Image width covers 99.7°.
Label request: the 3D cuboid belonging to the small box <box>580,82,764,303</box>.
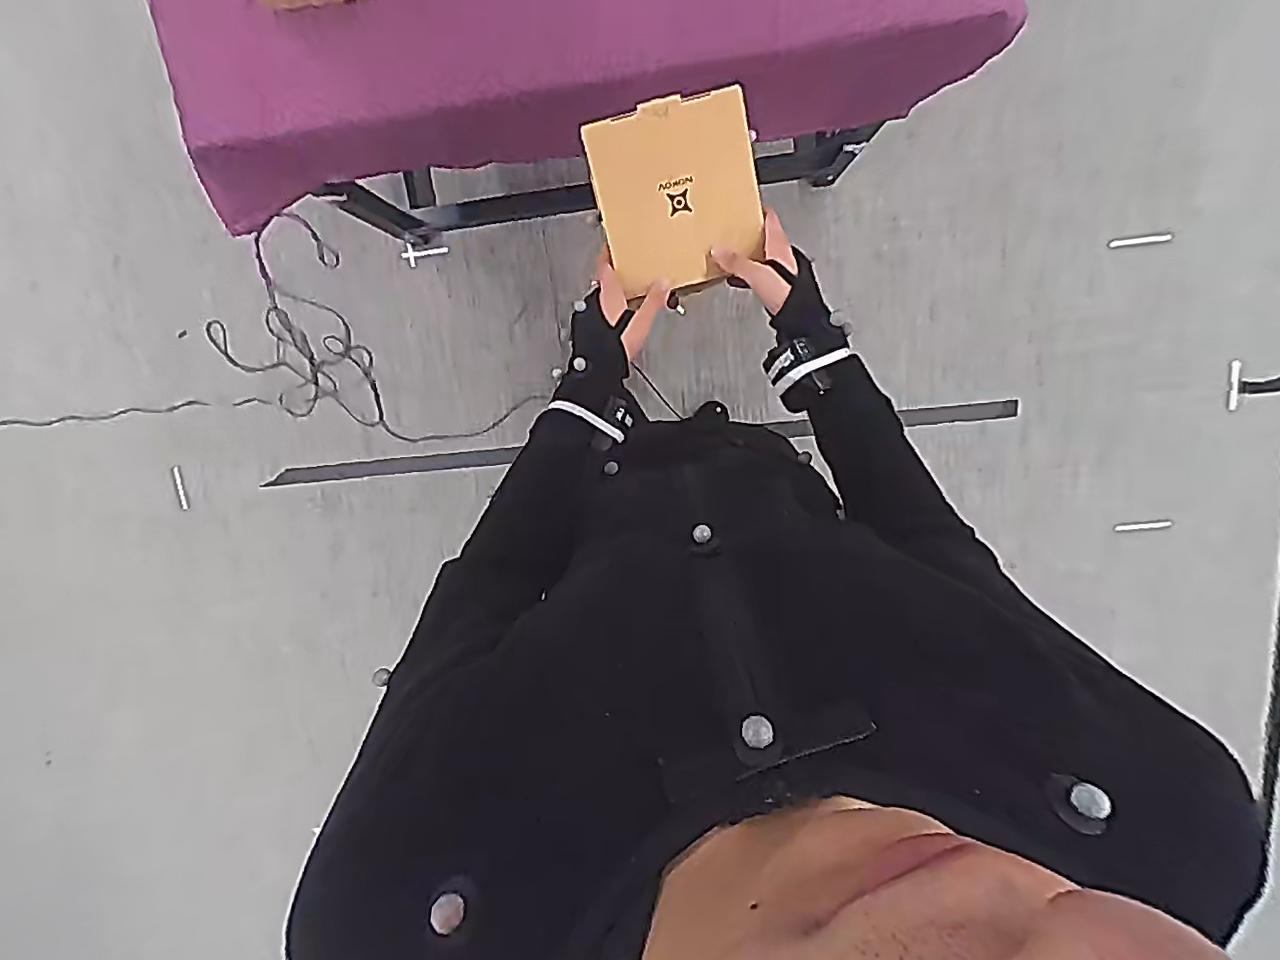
[{"bbox_3d":[0.036,-0.315,0.637,0.168,0.176,0.179,-13,102,2],"label":"small box"}]
